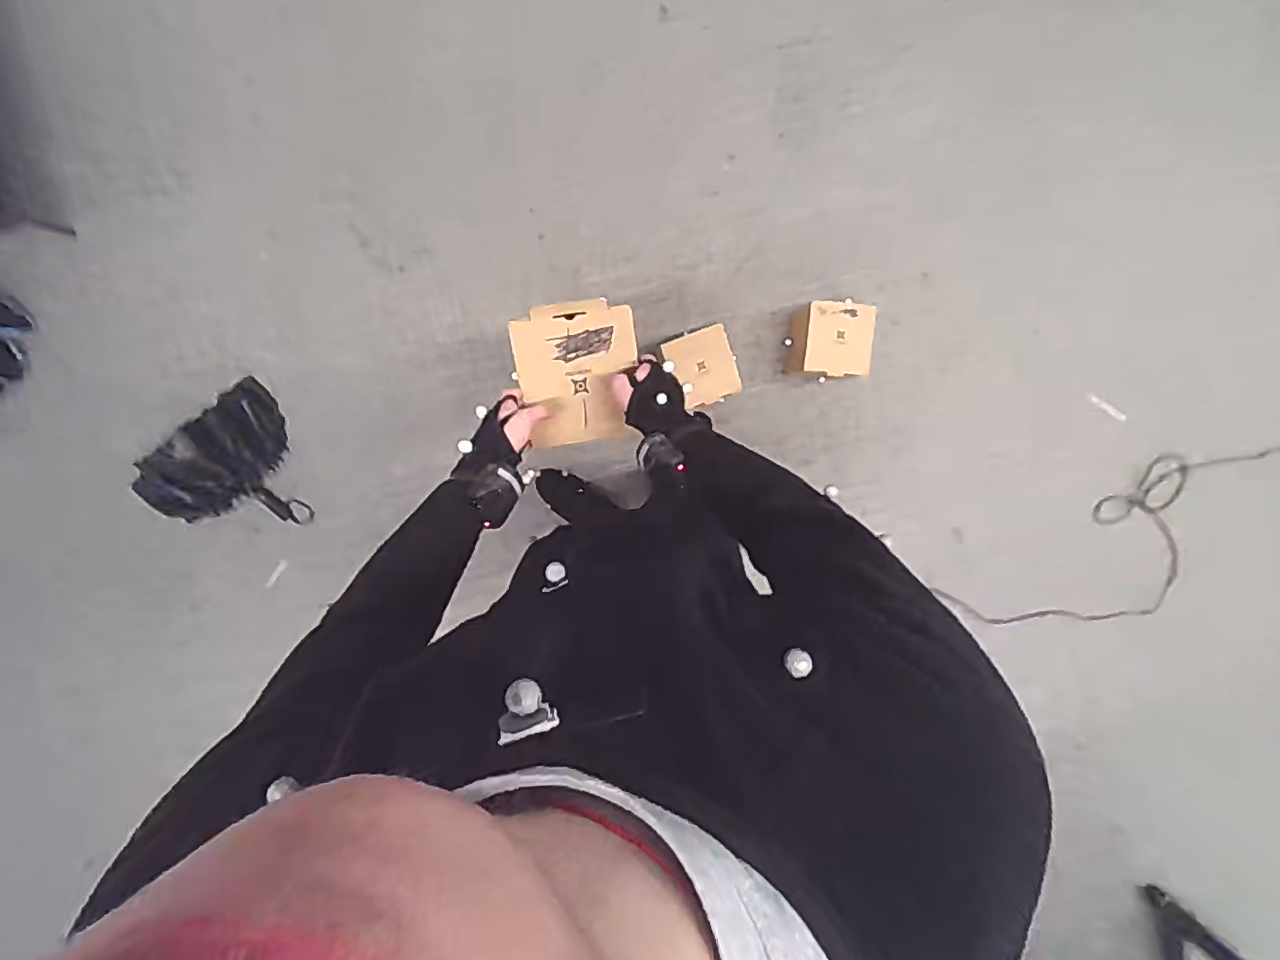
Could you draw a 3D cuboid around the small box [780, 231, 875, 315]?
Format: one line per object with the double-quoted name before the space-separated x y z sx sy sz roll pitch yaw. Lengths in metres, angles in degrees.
"small box" 0.466 -0.517 1.373 0.168 0.176 0.179 3 104 -4
